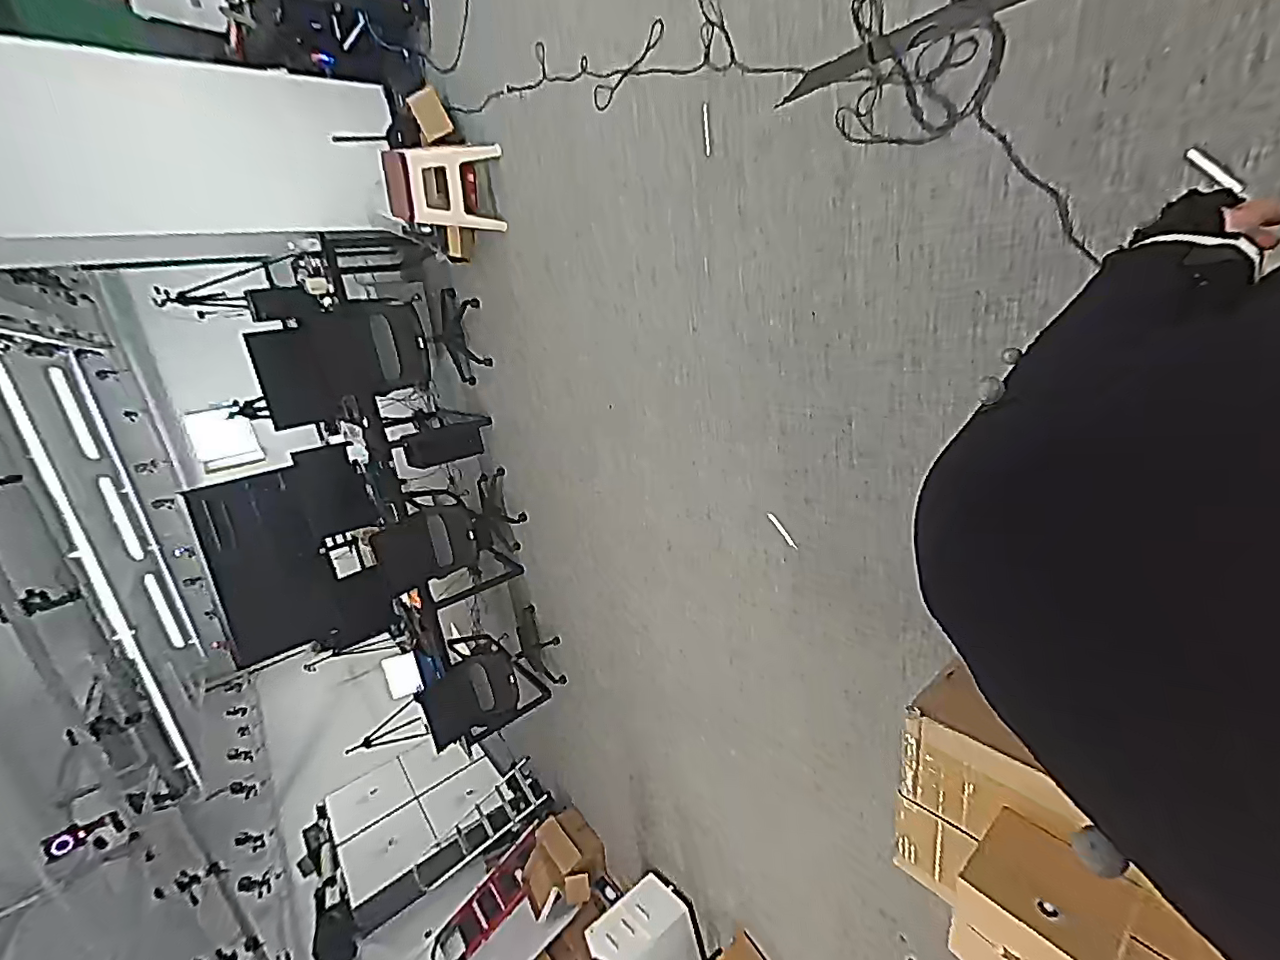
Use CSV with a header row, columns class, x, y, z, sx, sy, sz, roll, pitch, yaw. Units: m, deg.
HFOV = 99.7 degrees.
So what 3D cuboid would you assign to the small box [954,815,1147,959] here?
class,x,y,z,sx,sy,sz,roll,pitch,yaw
small box,0.591,0.640,0.784,0.179,0.176,0.168,19,121,50
